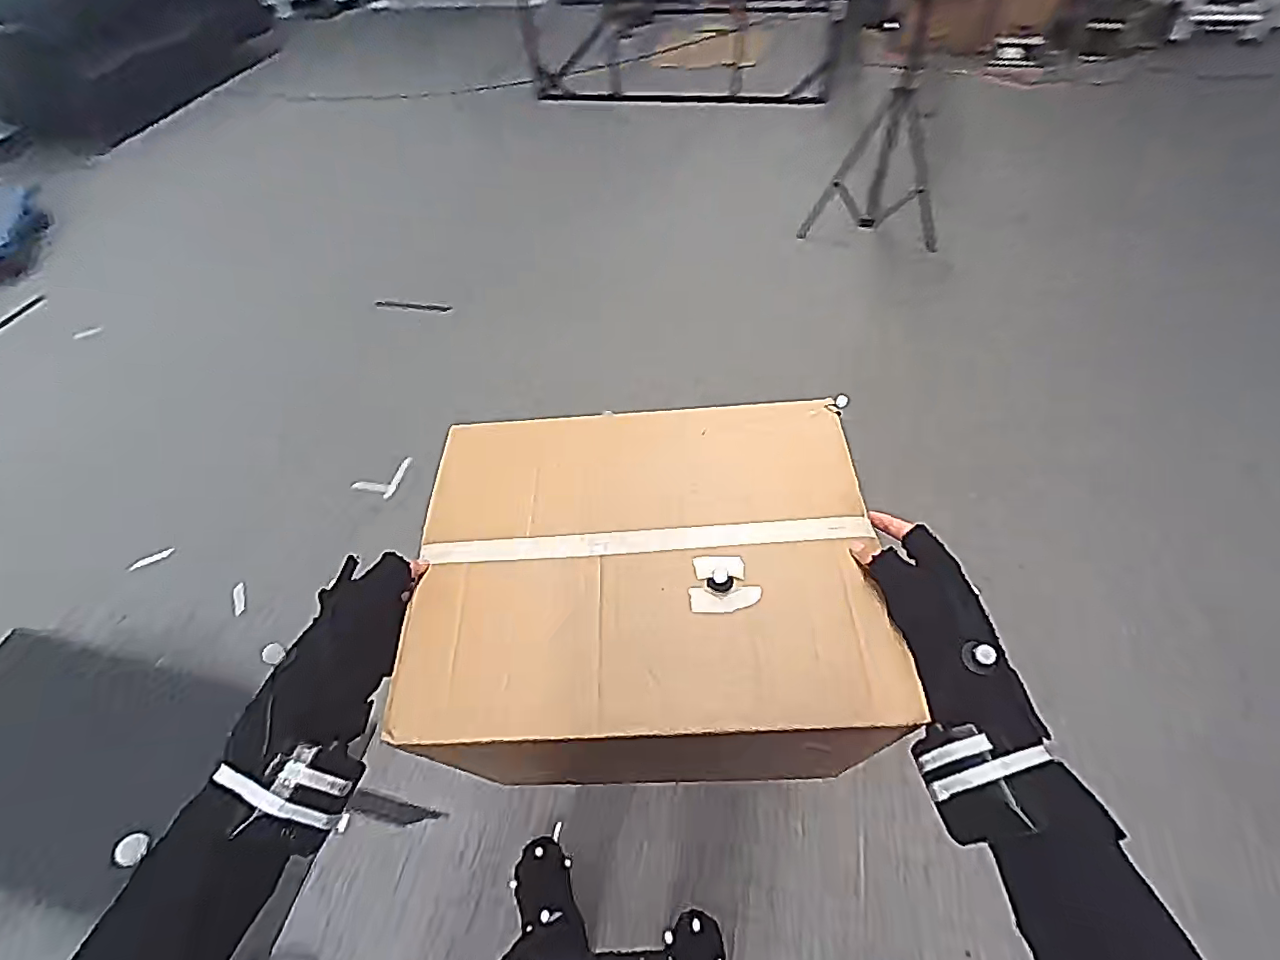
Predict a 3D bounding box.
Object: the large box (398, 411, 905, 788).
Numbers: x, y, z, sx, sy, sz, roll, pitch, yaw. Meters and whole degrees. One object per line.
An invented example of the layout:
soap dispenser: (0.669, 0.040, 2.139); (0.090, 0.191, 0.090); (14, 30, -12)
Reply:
large box: (0.009, 0.151, 0.621); (0.408, 0.320, 0.320); (-4, 55, 2)

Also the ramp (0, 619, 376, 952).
ramp: (-1.221, 0.693, 1.310); (0.991, 0.206, 0.509); (8, 53, 10)
